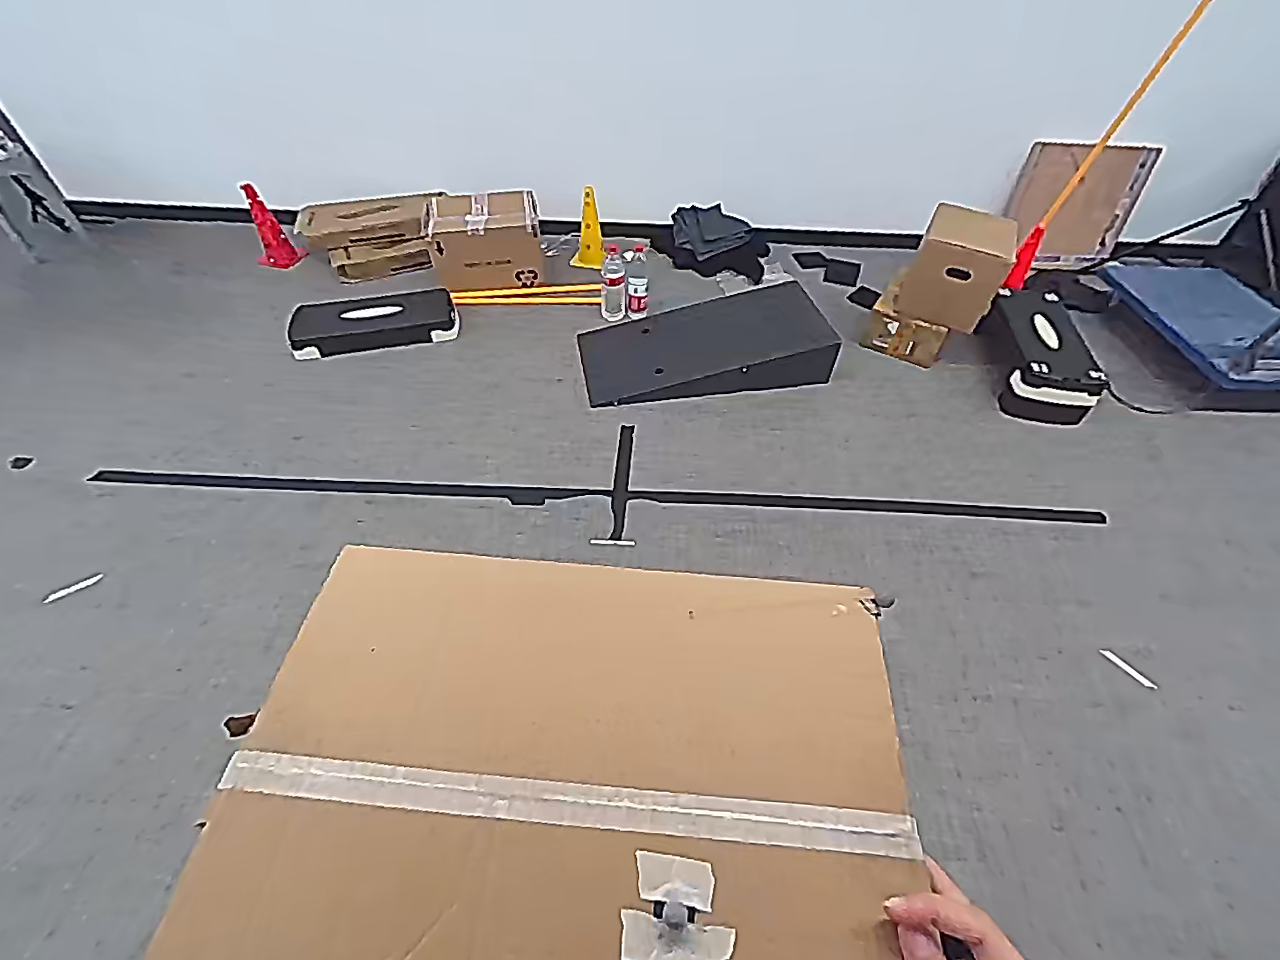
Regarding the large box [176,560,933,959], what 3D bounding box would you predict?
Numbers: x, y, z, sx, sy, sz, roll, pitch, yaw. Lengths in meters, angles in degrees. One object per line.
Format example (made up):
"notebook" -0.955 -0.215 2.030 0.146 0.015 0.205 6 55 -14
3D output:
"large box" -0.041 0.287 0.445 0.408 0.320 0.320 5 53 2
